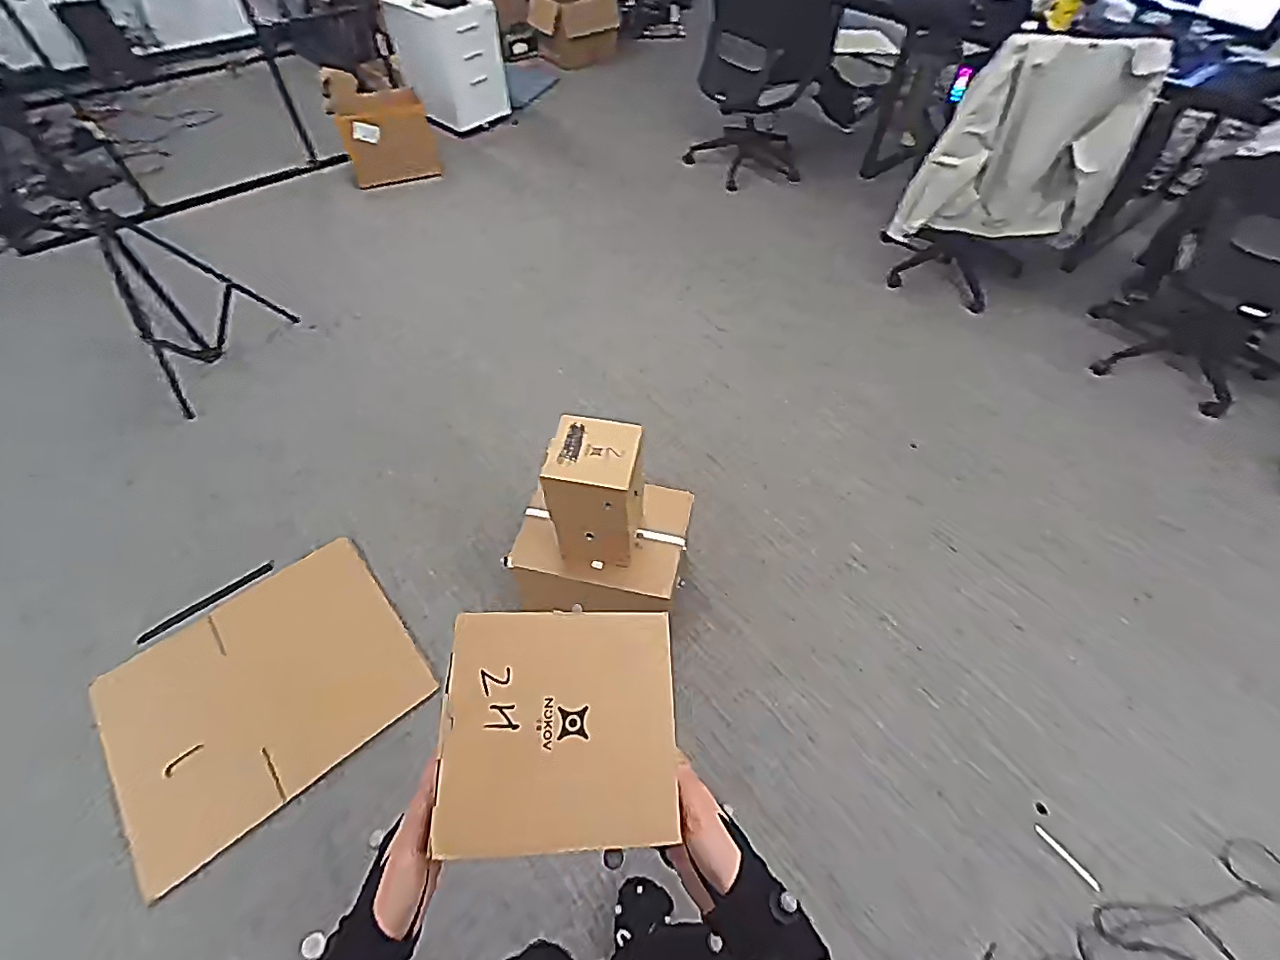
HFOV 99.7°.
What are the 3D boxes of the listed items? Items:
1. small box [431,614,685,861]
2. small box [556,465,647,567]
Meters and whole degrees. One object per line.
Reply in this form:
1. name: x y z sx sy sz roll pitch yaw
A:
1. small box: -0.068 0.218 0.476 0.179 0.176 0.168 2 63 -9
2. small box: -0.085 0.089 1.276 0.179 0.176 0.168 9 55 5
